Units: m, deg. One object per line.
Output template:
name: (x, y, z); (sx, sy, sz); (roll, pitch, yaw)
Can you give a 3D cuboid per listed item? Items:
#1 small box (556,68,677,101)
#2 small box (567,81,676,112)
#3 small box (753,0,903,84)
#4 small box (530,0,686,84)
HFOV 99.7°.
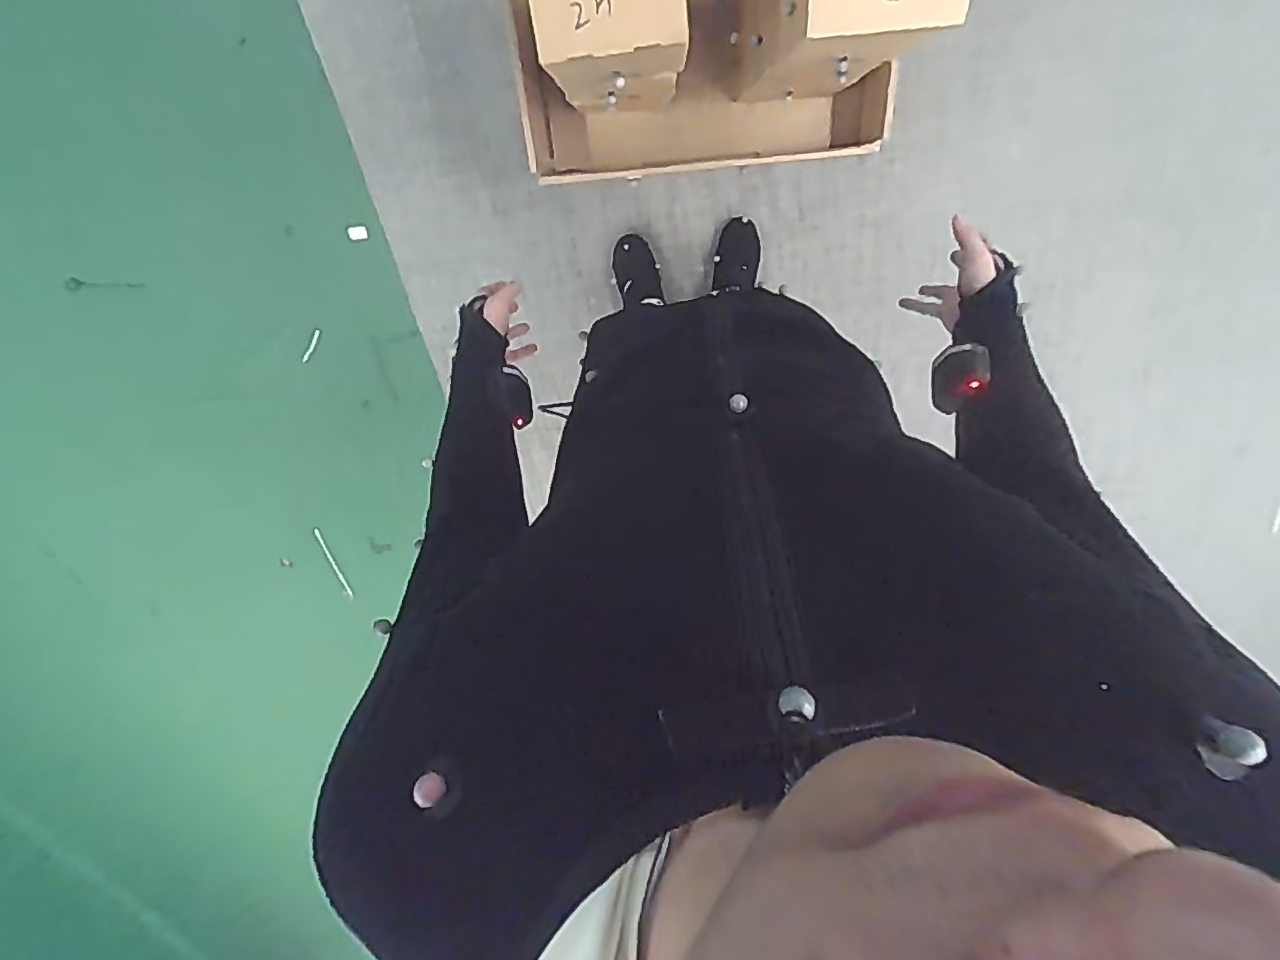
small box: (-0.032, -0.656, 0.761); (0.168, 0.176, 0.179); (-1, 118, 4)
small box: (-0.028, -0.729, 0.907); (0.179, 0.176, 0.168); (0, 118, 3)
small box: (0.251, -0.662, 0.739); (0.168, 0.176, 0.179); (-2, 117, 3)
small box: (-0.035, -0.579, 0.616); (0.168, 0.176, 0.179); (-3, 119, 5)
